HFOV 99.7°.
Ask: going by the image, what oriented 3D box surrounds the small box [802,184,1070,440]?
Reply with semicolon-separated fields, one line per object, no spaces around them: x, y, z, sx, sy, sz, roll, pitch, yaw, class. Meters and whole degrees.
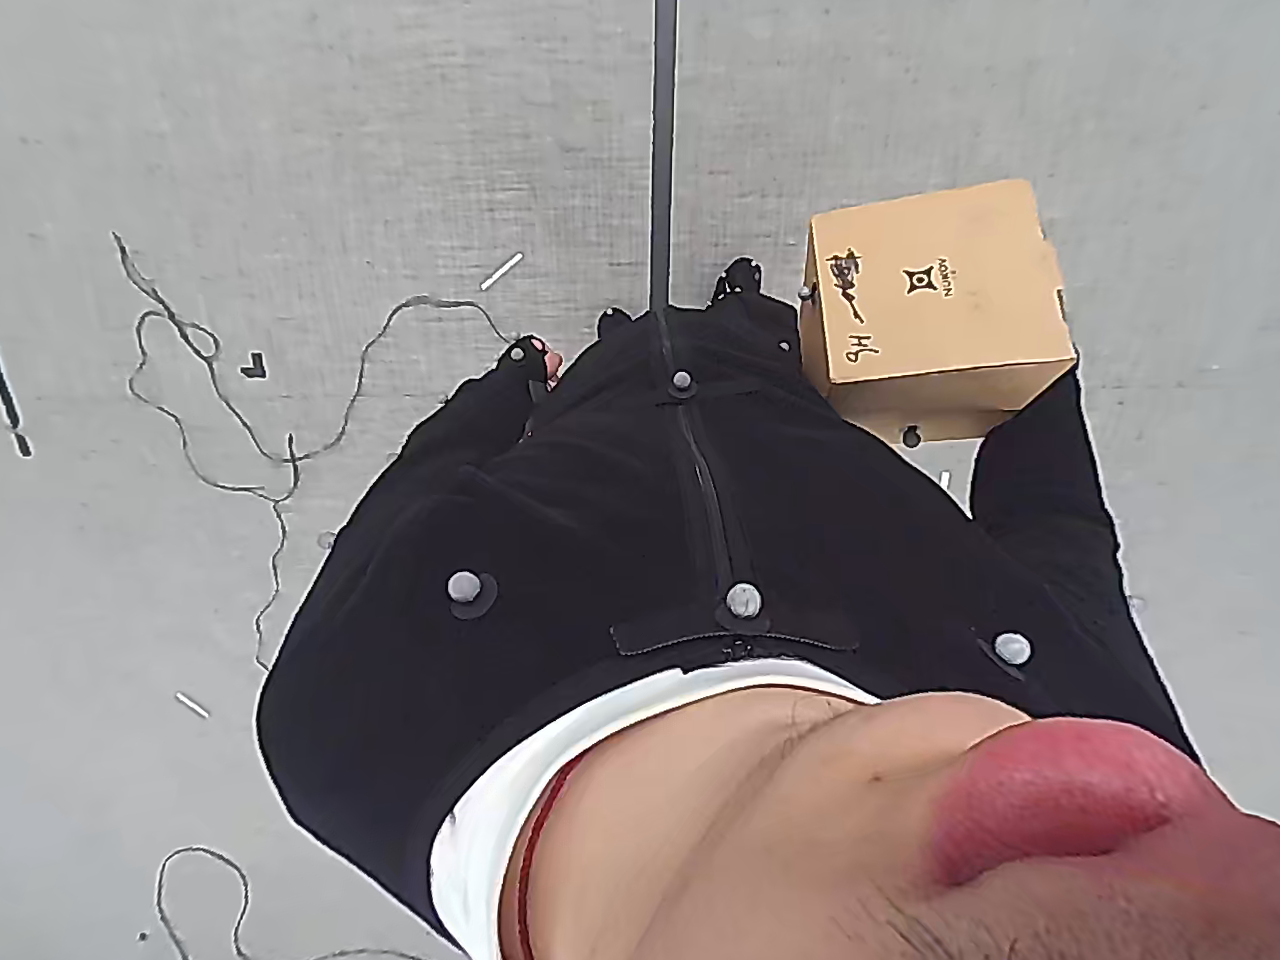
0.260;-0.146;0.525;0.179;0.176;0.168;-4;73;12;small box
